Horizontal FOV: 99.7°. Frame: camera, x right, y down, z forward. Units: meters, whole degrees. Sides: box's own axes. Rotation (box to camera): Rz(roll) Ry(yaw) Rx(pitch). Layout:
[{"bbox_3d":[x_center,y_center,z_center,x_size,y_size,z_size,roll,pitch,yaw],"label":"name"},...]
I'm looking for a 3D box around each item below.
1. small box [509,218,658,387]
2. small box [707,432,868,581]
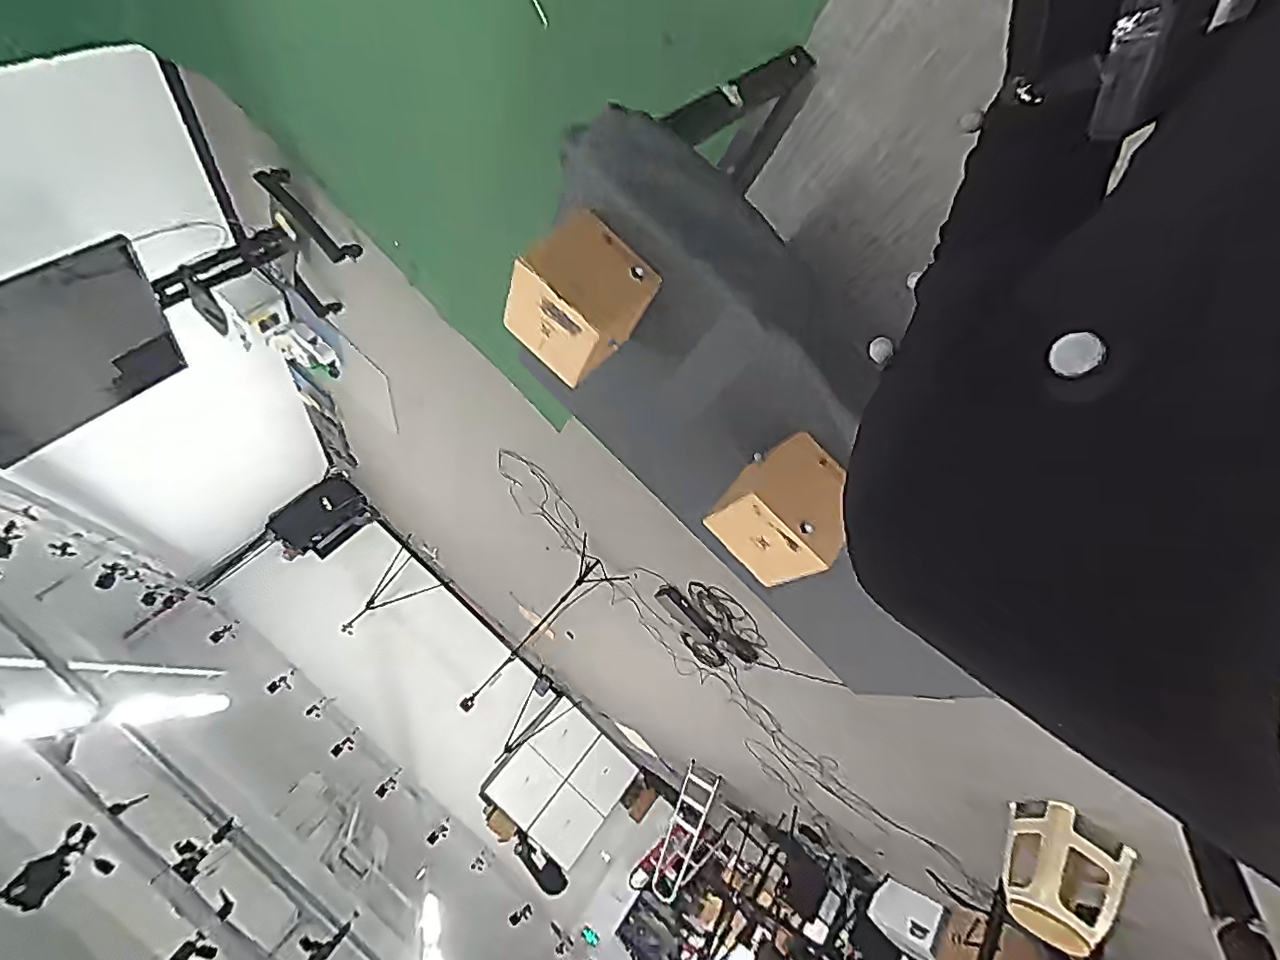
[{"bbox_3d":[-0.093,-0.298,0.910,0.168,0.176,0.179,43,153,-3],"label":"small box"},{"bbox_3d":[0.254,0.048,0.936,0.168,0.176,0.179,44,152,-1],"label":"small box"}]
